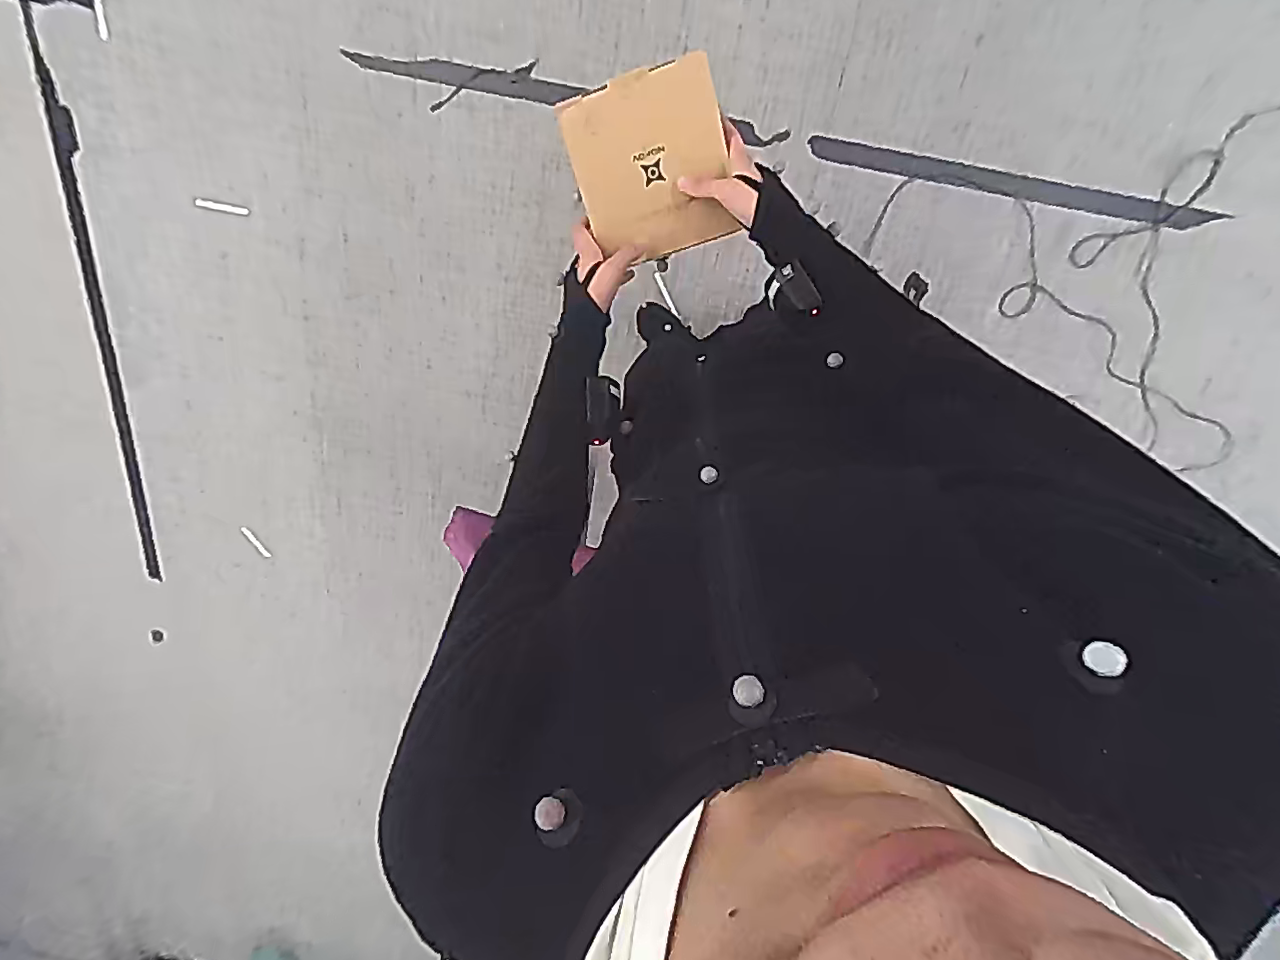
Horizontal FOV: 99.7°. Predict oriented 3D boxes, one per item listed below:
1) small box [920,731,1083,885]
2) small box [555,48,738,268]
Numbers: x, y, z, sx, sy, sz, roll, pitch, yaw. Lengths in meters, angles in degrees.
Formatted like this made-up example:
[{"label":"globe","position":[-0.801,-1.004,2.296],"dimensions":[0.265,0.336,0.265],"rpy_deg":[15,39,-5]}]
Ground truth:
[{"label":"small box","position":[0.652,0.600,1.005],"dimensions":[0.168,0.176,0.179],"rpy_deg":[10,114,2]},{"label":"small box","position":[0.012,-0.367,0.654],"dimensions":[0.168,0.176,0.179],"rpy_deg":[-14,110,8]}]
